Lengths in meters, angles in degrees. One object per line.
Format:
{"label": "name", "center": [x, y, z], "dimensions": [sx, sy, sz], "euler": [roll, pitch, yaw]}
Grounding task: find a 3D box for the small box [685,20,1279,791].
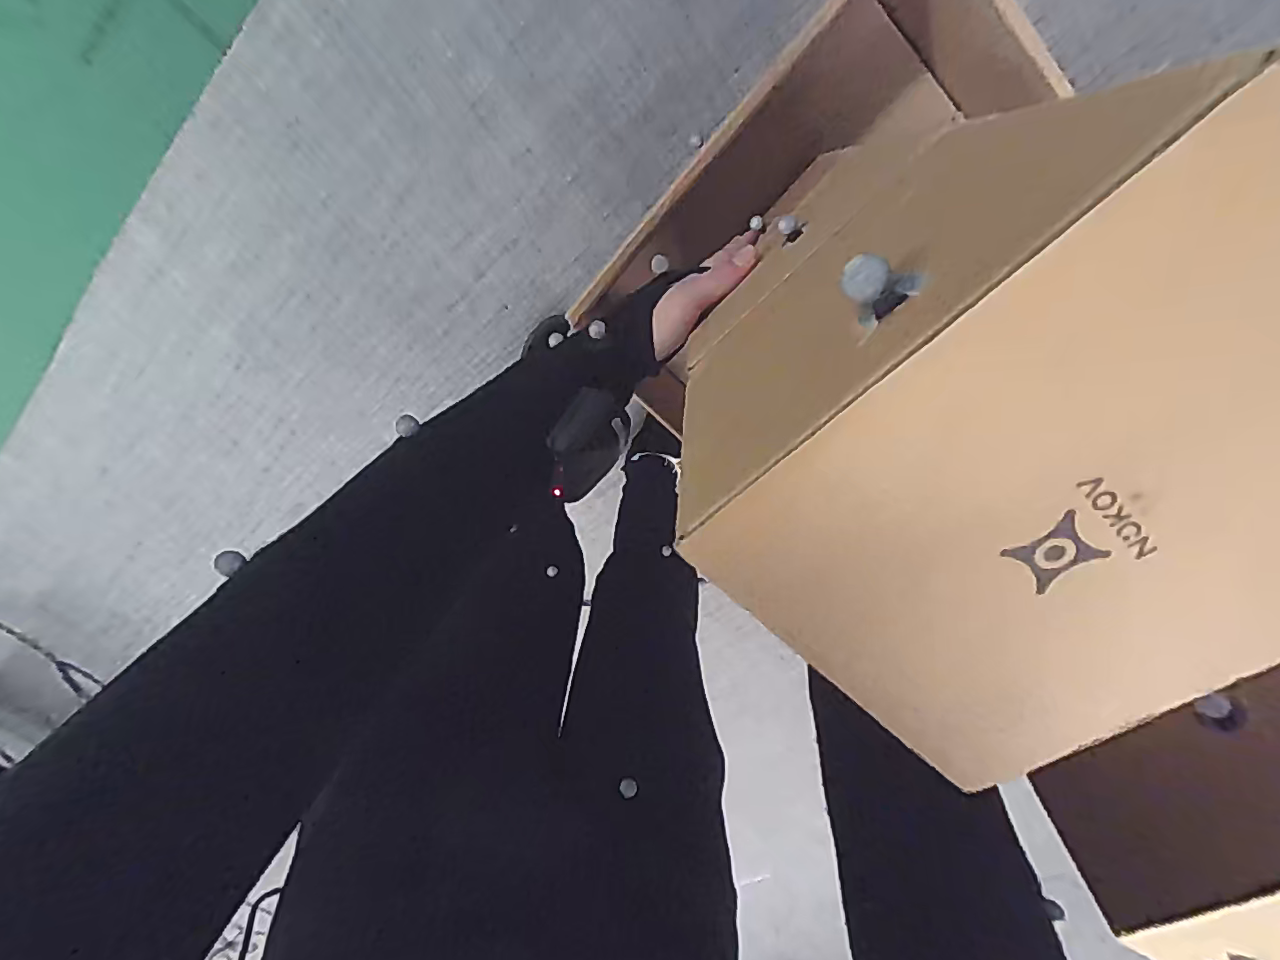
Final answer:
{"label": "small box", "center": [0.139, -0.022, 0.224], "dimensions": [0.168, 0.176, 0.179], "euler": [41, 114, -15]}
